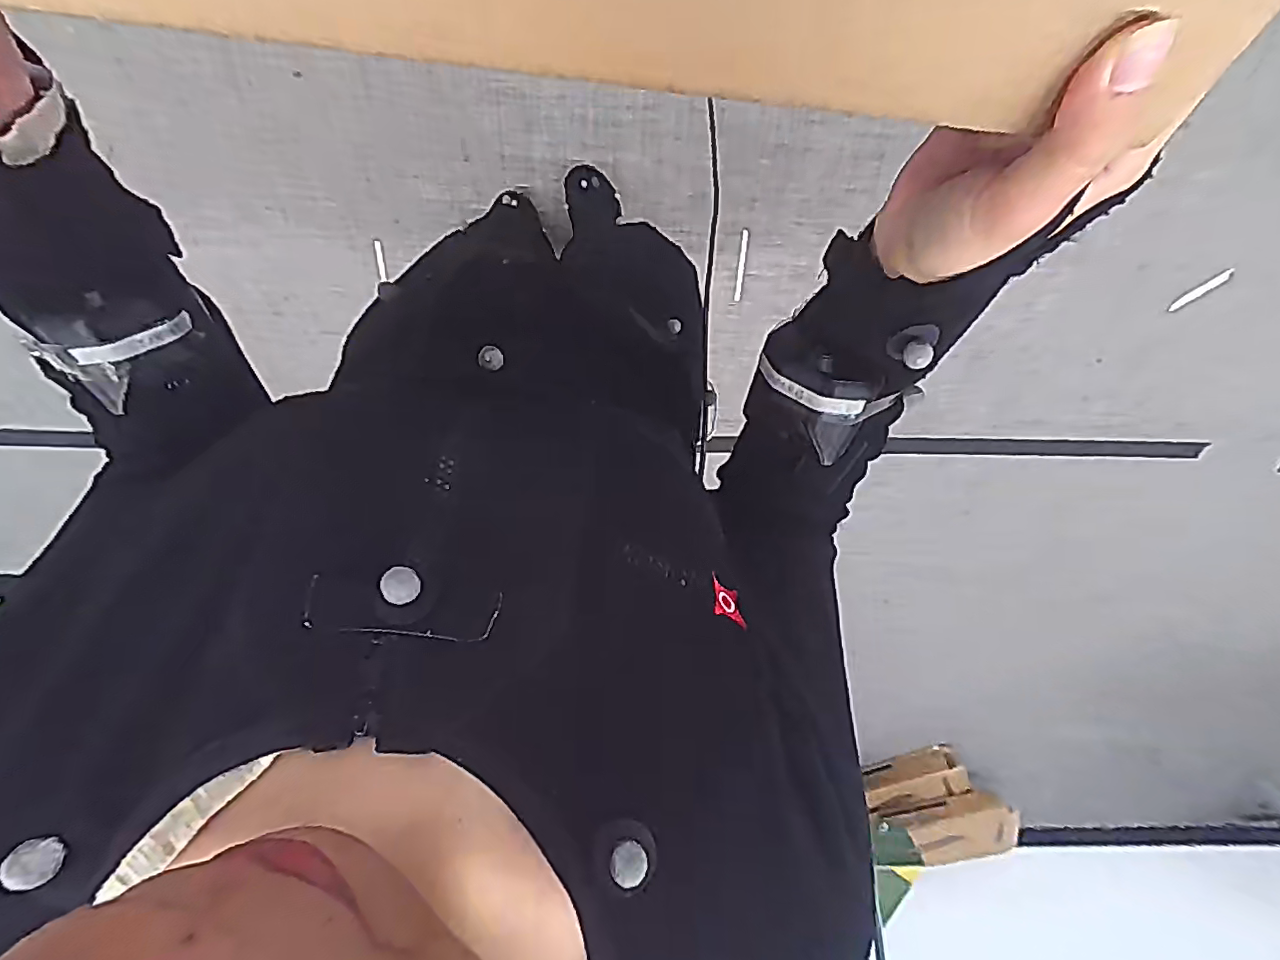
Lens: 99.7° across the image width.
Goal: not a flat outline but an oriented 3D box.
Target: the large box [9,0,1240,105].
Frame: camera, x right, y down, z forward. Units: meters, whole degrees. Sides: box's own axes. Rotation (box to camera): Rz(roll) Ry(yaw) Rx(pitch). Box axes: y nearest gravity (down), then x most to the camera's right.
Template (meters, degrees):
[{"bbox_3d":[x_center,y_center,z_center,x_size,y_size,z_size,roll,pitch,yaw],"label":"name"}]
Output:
[{"bbox_3d":[-0.023,-0.330,0.093,0.408,0.320,0.320,4,154,-4],"label":"large box"}]
